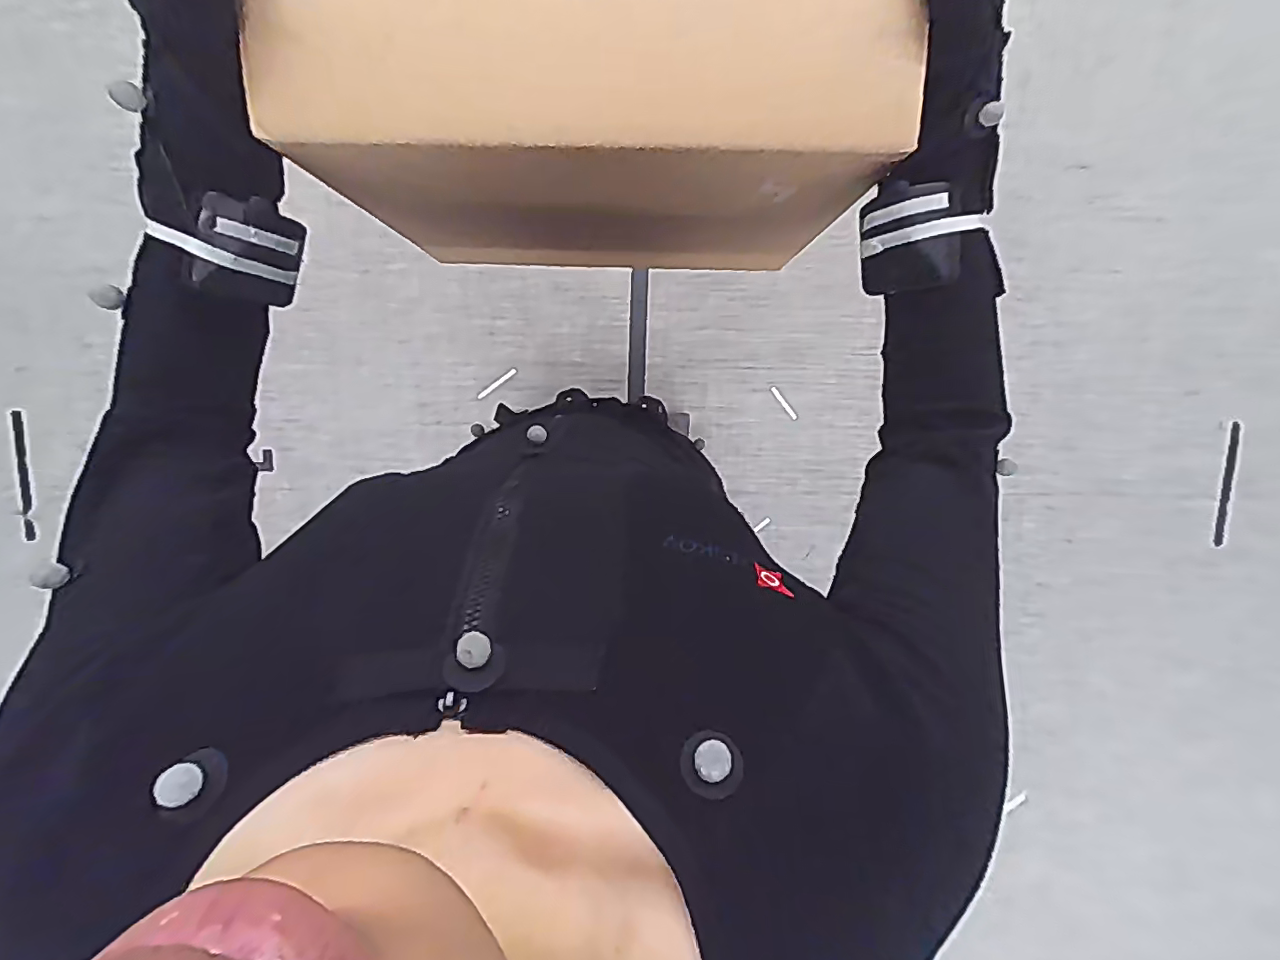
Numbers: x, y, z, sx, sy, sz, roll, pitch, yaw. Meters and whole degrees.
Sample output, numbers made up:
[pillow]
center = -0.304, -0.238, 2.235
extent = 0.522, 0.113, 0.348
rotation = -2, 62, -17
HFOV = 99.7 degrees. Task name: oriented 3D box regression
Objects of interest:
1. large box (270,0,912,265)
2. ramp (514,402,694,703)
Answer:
[large box]
center = -0.031, -0.387, 0.471
extent = 0.408, 0.320, 0.320
rotation = 0, 99, -1
[ramp]
center = -0.098, 0.262, 1.617
extent = 0.509, 0.206, 0.991
rotation = -1, 99, -1
